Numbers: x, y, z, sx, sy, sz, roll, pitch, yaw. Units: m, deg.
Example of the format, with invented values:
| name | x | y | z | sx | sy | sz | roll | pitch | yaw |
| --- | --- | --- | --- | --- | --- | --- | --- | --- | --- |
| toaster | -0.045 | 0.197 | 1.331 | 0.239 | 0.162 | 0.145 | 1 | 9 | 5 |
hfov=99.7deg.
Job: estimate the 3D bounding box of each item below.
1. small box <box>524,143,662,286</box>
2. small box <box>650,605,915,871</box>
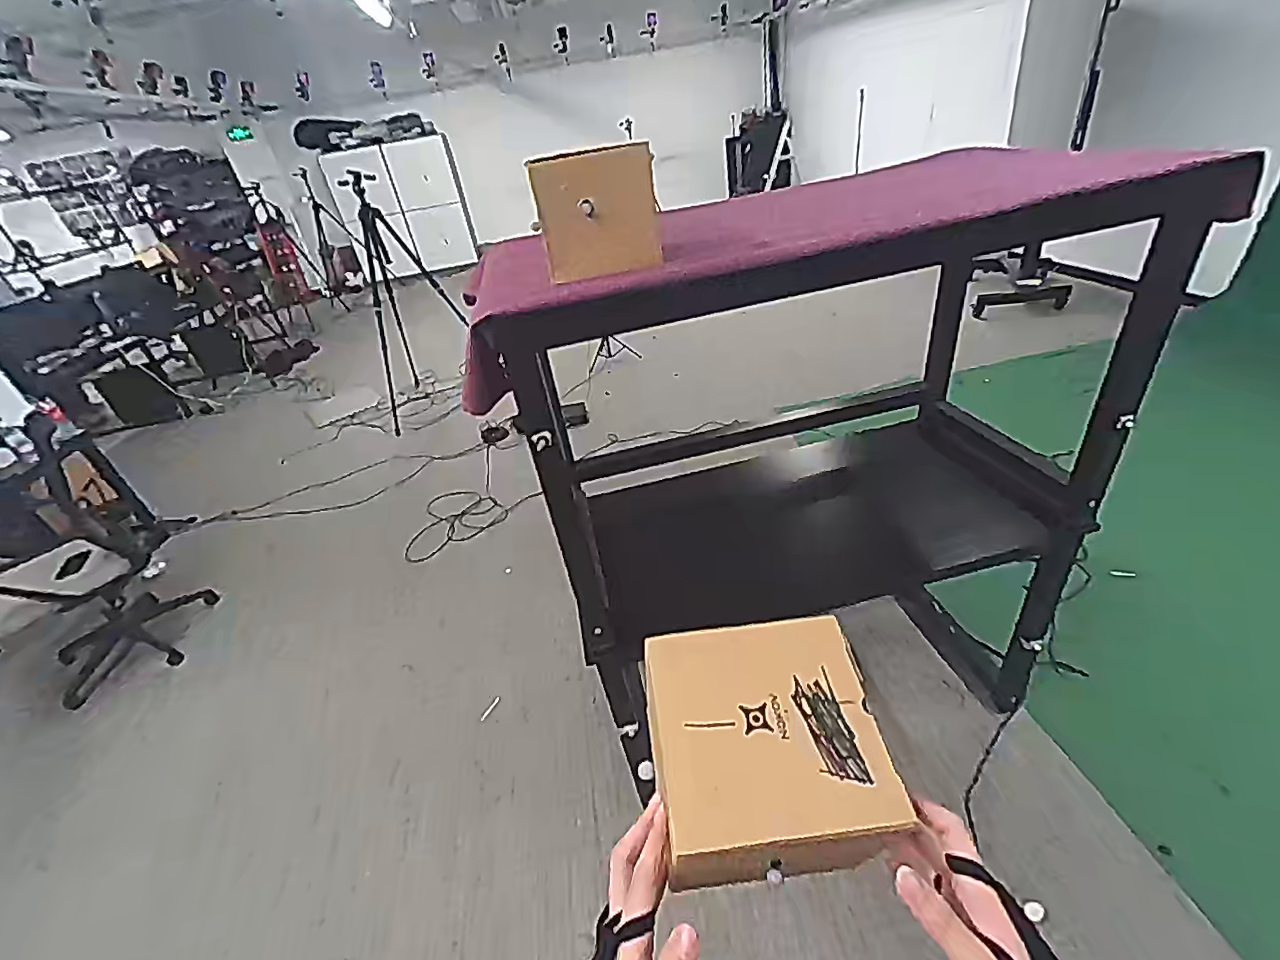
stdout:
| name | x | y | z | sx | sy | sz | roll | pitch | yaw |
| --- | --- | --- | --- | --- | --- | --- | --- | --- | --- |
| small box | -0.073 | -0.419 | 0.855 | 0.179 | 0.176 | 0.168 | -12 | 34 | -2 |
| small box | 0.103 | 0.233 | 0.487 | 0.179 | 0.176 | 0.168 | -6 | 47 | -3 |
